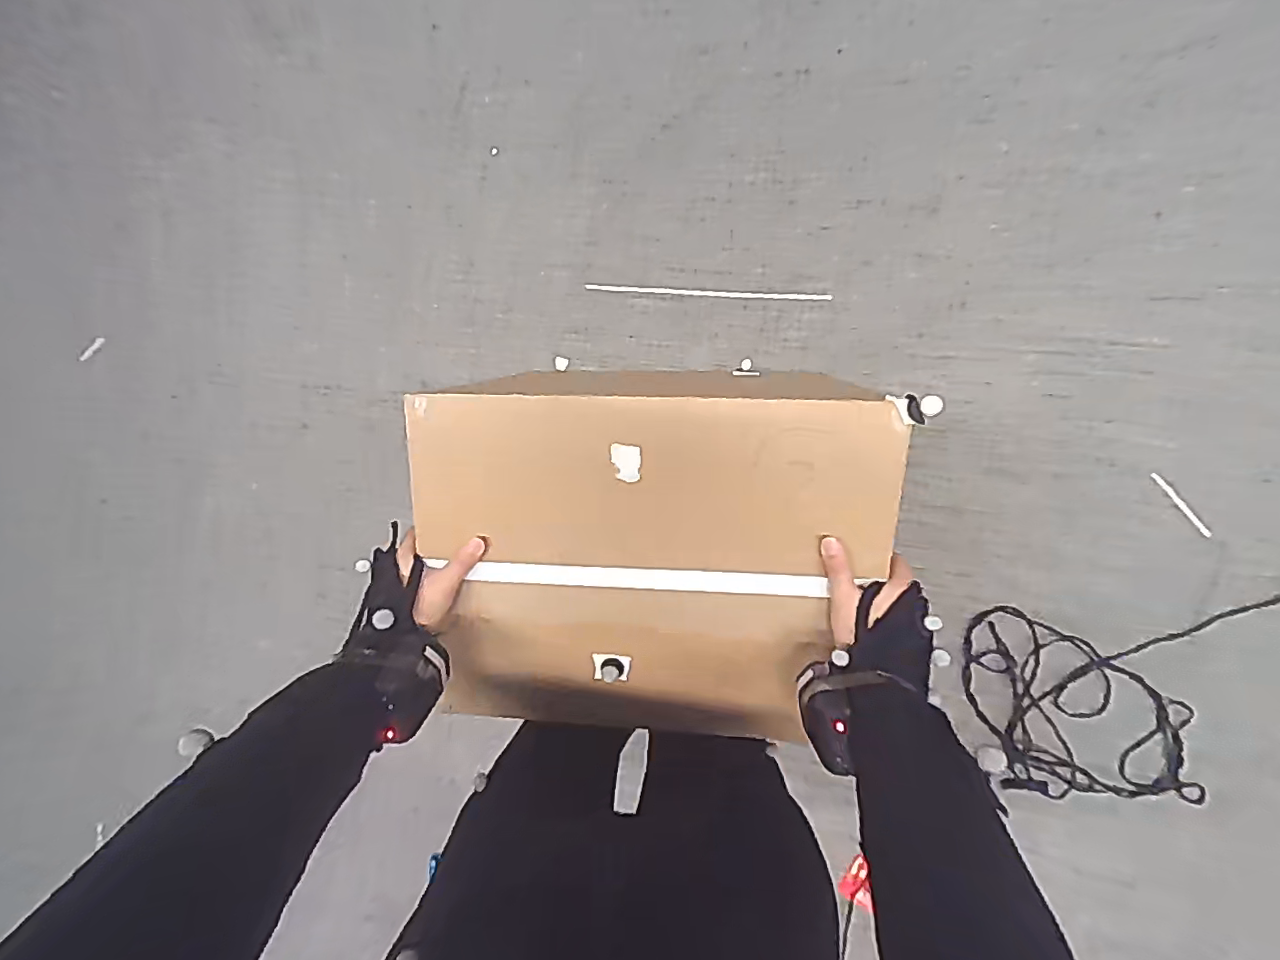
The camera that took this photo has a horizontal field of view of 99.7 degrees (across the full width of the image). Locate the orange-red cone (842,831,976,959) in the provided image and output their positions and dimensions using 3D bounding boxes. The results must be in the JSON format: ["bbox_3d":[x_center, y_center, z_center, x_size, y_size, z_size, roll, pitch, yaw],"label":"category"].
[{"bbox_3d":[0.495,0.831,0.905,0.199,0.360,0.198,27,102,7],"label":"orange-red cone"}]
